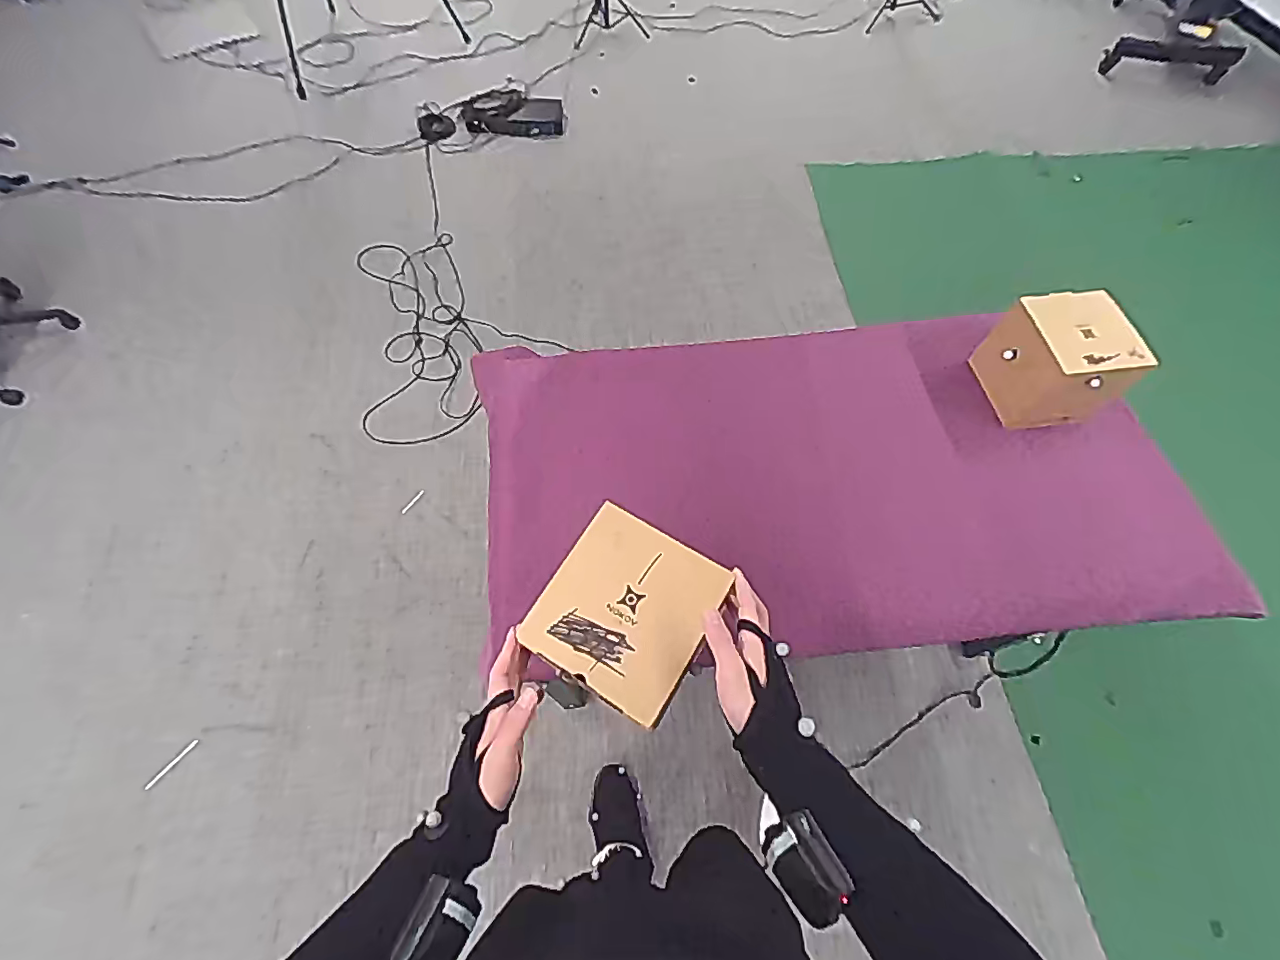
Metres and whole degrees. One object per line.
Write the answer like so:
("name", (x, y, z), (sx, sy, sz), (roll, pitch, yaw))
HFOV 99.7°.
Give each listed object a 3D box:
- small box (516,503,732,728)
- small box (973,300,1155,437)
("small box", (-0.009, 0.162, 0.628), (0.168, 0.176, 0.179), (29, 71, 15))
("small box", (0.758, -0.202, 0.994), (0.168, 0.176, 0.179), (-6, 61, -3))
